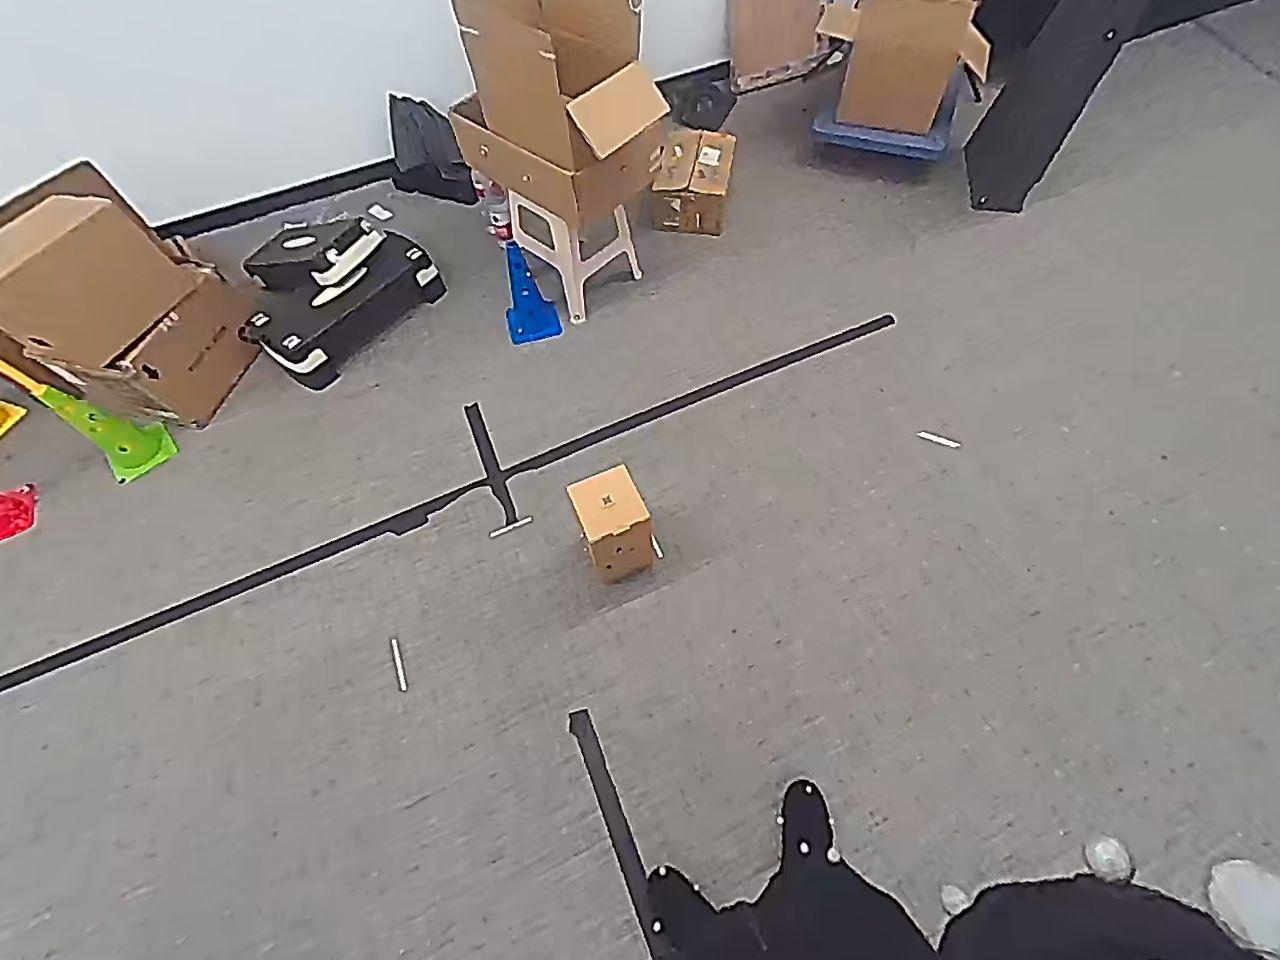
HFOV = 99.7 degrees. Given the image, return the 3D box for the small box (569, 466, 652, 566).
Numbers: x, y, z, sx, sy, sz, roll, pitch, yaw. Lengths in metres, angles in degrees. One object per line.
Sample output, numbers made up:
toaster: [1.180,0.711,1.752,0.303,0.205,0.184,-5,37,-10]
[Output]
small box: [-0.076,0.099,1.436,0.168,0.176,0.179,-23,61,-10]
